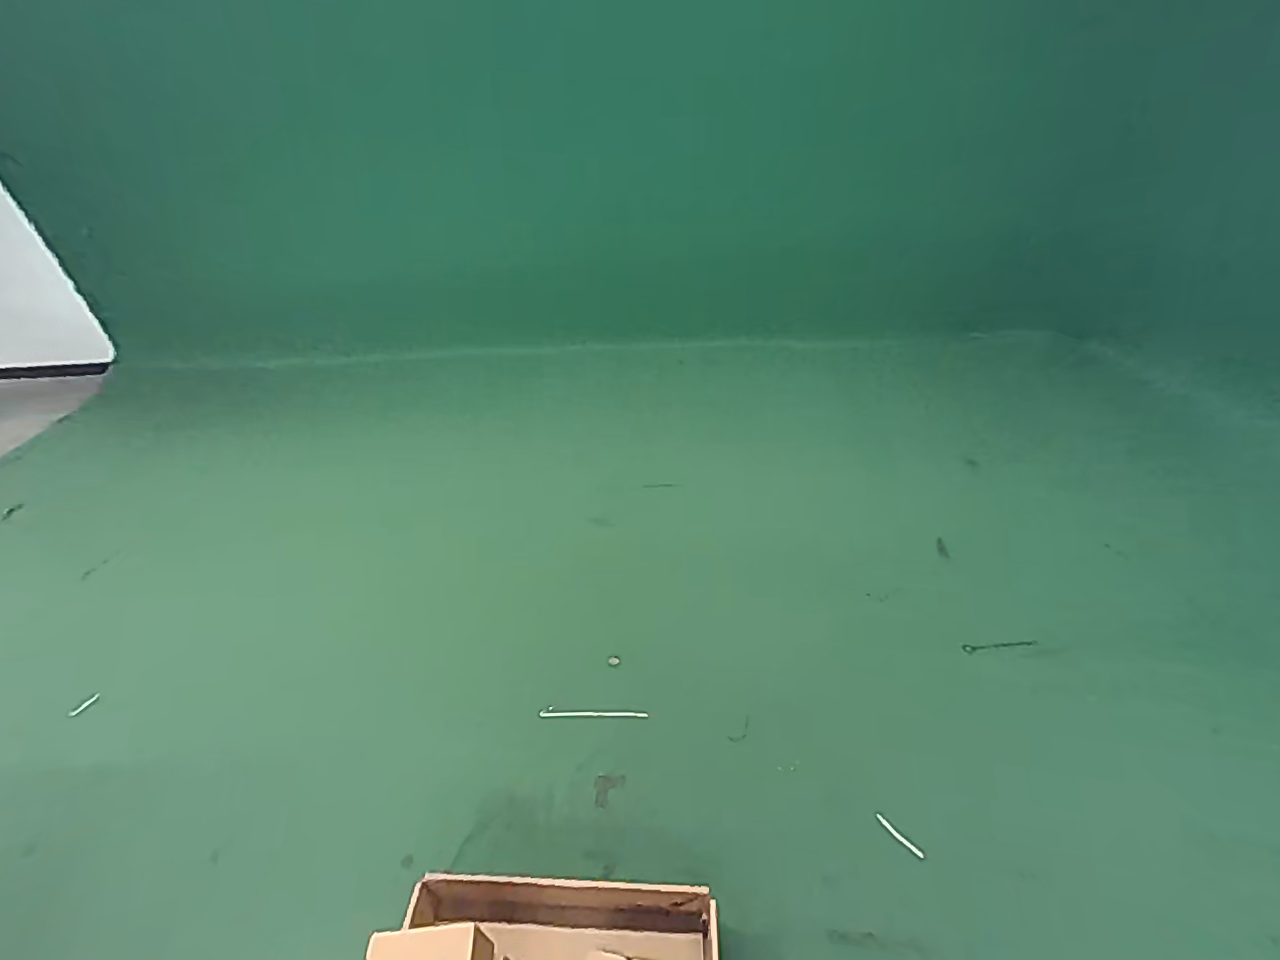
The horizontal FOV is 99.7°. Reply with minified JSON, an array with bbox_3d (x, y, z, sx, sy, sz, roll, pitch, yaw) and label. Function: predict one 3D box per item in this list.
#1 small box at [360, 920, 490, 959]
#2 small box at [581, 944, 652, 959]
[{"bbox_3d":[-0.358,0.855,0.887,0.179,0.176,0.168,-4,41,-4],"label":"small box"},{"bbox_3d":[-0.036,0.979,0.970,0.168,0.176,0.179,4,41,10],"label":"small box"}]
